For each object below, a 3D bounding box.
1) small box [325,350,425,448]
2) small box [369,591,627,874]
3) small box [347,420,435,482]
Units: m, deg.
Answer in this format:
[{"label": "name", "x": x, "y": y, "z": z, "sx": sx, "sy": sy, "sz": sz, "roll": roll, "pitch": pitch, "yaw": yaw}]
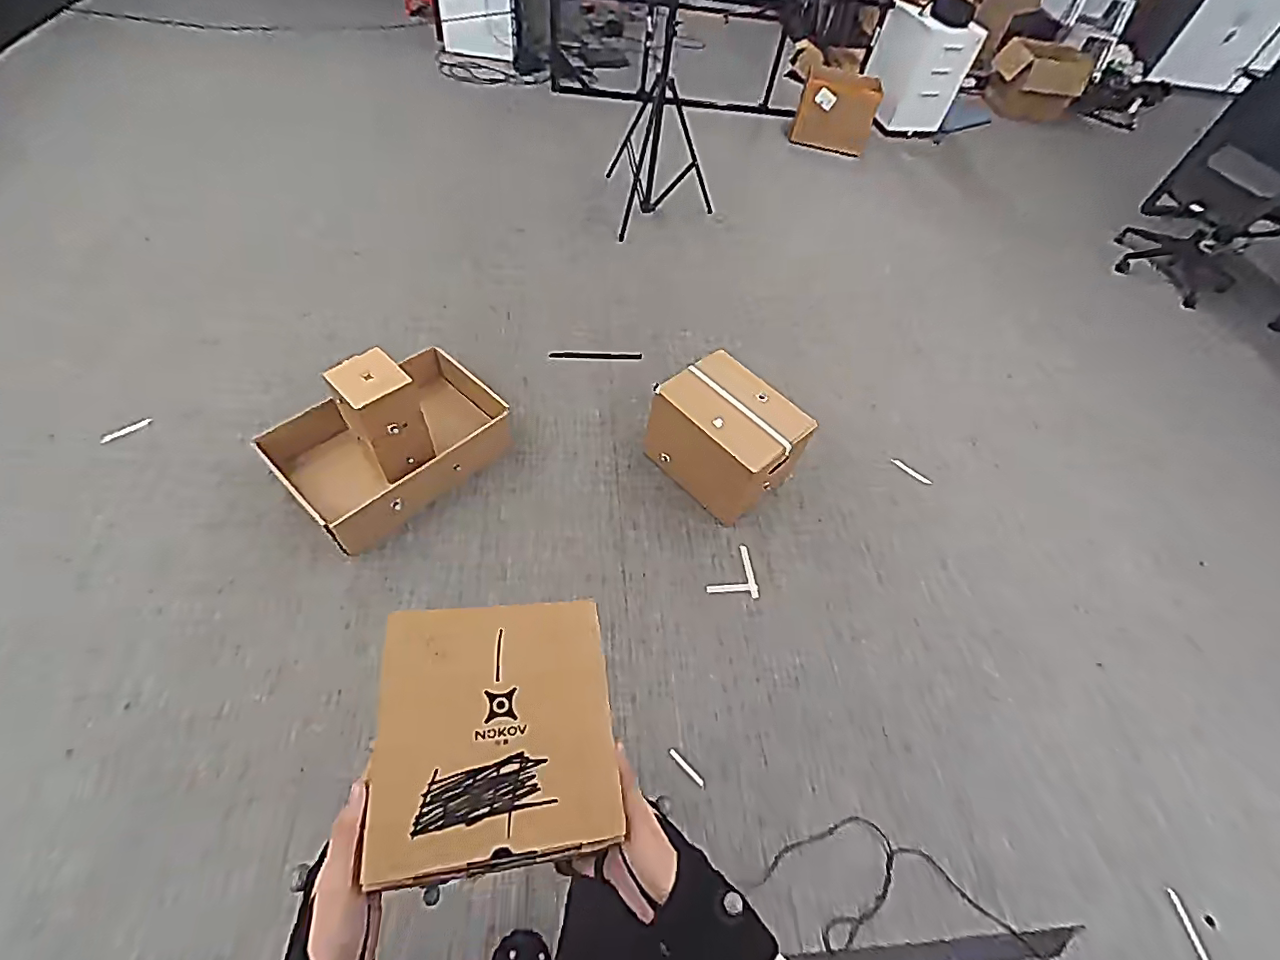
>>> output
[{"label": "small box", "x": -0.732, "y": -0.221, "z": 1.507, "sx": 0.179, "sy": 0.176, "sz": 0.168, "roll": 41, "pitch": 60, "yaw": 19}, {"label": "small box", "x": -0.116, "y": 0.212, "z": 0.455, "sx": 0.168, "sy": 0.176, "sz": 0.179, "roll": 0, "pitch": 53, "yaw": -17}, {"label": "small box", "x": -0.749, "y": -0.126, "z": 1.637, "sx": 0.168, "sy": 0.176, "sz": 0.179, "roll": -37, "pitch": 67, "yaw": -28}]
